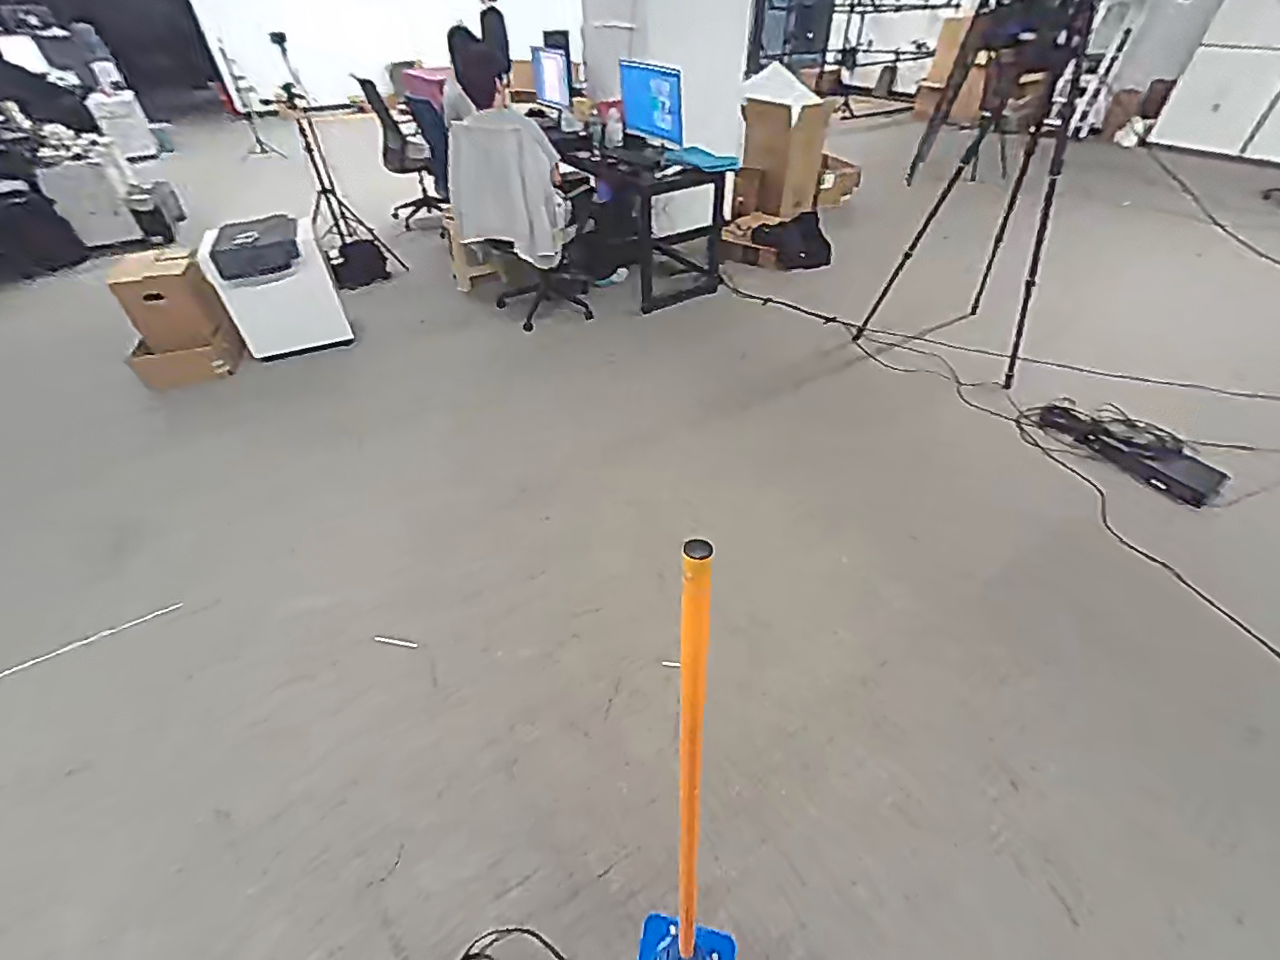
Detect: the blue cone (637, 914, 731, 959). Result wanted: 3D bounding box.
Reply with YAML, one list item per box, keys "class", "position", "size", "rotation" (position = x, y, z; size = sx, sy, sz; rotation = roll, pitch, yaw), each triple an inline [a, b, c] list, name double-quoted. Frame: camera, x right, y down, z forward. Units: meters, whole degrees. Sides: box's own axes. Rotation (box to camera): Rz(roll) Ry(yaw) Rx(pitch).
- class: "blue cone"
  position: [0.082, 0.886, 0.992]
  size: [0.192, 0.380, 0.193]
  rotation: [7, 41, 11]
